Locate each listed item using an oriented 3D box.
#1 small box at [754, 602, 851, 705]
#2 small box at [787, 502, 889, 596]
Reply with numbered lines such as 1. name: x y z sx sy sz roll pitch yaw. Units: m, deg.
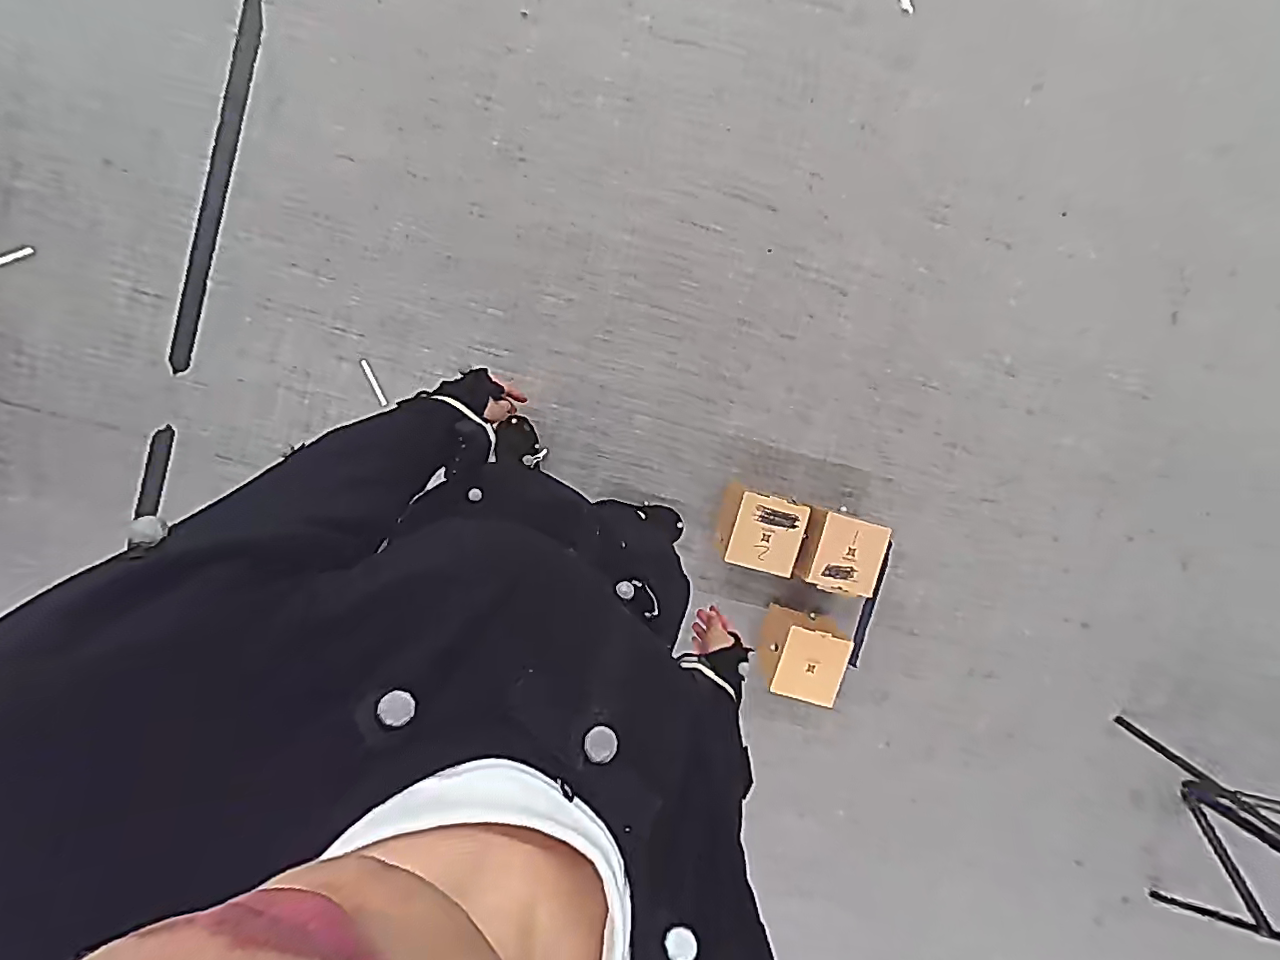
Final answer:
1. small box: 0.407 0.439 1.389 0.168 0.176 0.179 17 94 -5
2. small box: 0.488 0.167 1.363 0.168 0.176 0.179 16 94 -5
